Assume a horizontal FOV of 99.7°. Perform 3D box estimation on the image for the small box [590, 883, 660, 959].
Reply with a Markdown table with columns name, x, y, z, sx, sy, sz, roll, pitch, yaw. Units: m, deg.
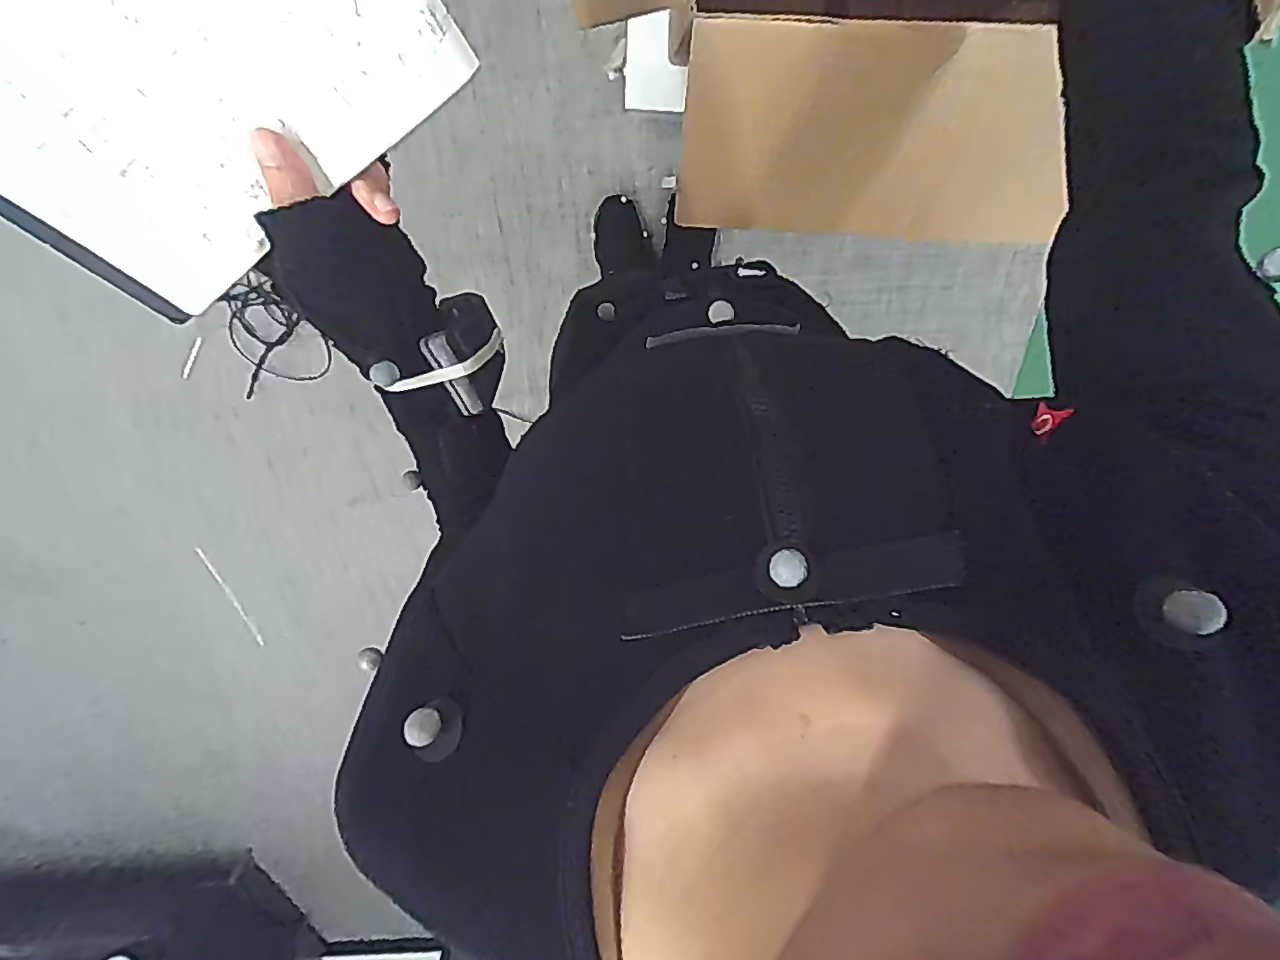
| name | x | y | z | sx | sy | sz | roll | pitch | yaw |
| --- | --- | --- | --- | --- | --- | --- | --- | --- | --- |
| small box | -0.038 | 1.193 | 1.430 | 0.168 | 0.176 | 0.179 | -5 | 123 | 2 |
